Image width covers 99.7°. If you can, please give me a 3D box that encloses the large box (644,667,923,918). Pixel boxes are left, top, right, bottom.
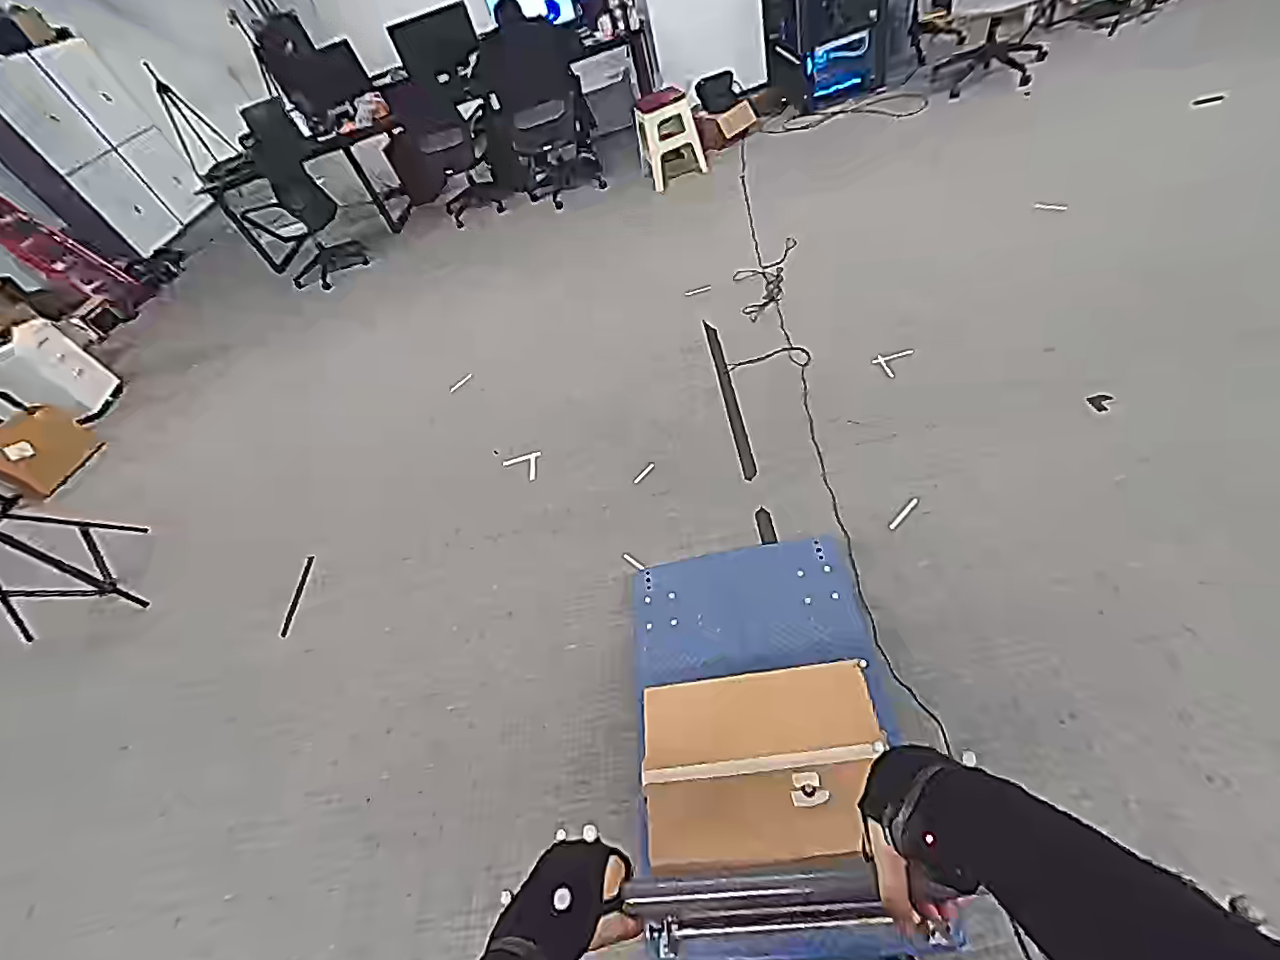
[{"bbox_3d":[0.241,0.585,0.999,0.408,0.320,0.320,-12,47,9],"label":"large box"}]
